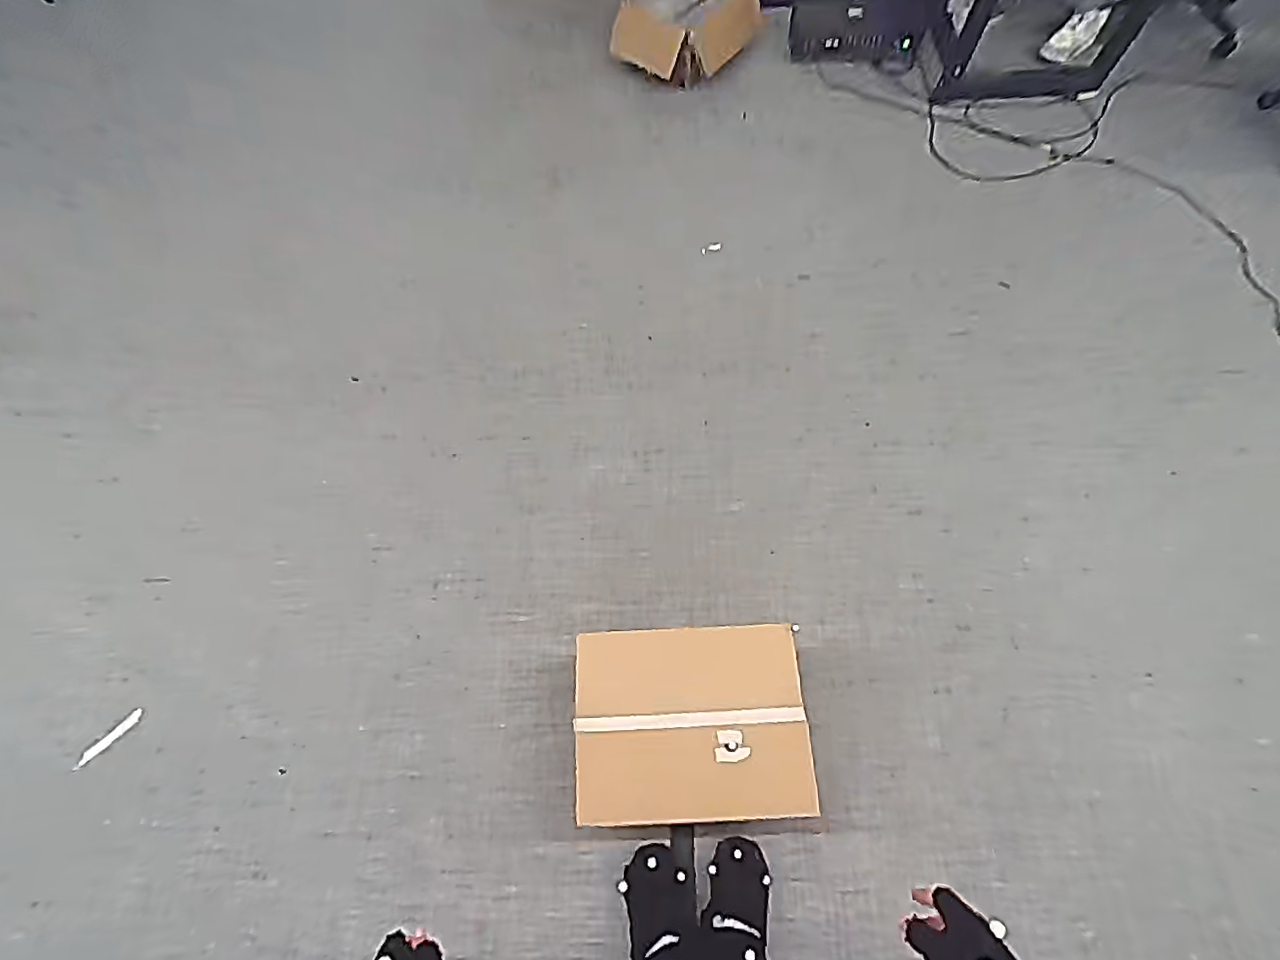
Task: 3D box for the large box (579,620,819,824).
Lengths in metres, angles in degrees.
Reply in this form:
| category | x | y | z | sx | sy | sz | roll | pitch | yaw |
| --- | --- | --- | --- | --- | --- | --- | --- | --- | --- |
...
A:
| category | x | y | z | sx | sy | sz | roll | pitch | yaw |
| --- | --- | --- | --- | --- | --- | --- | --- | --- | --- |
| large box | 0.094 | 0.477 | 1.092 | 0.408 | 0.320 | 0.320 | -3 | 67 | 0 |
